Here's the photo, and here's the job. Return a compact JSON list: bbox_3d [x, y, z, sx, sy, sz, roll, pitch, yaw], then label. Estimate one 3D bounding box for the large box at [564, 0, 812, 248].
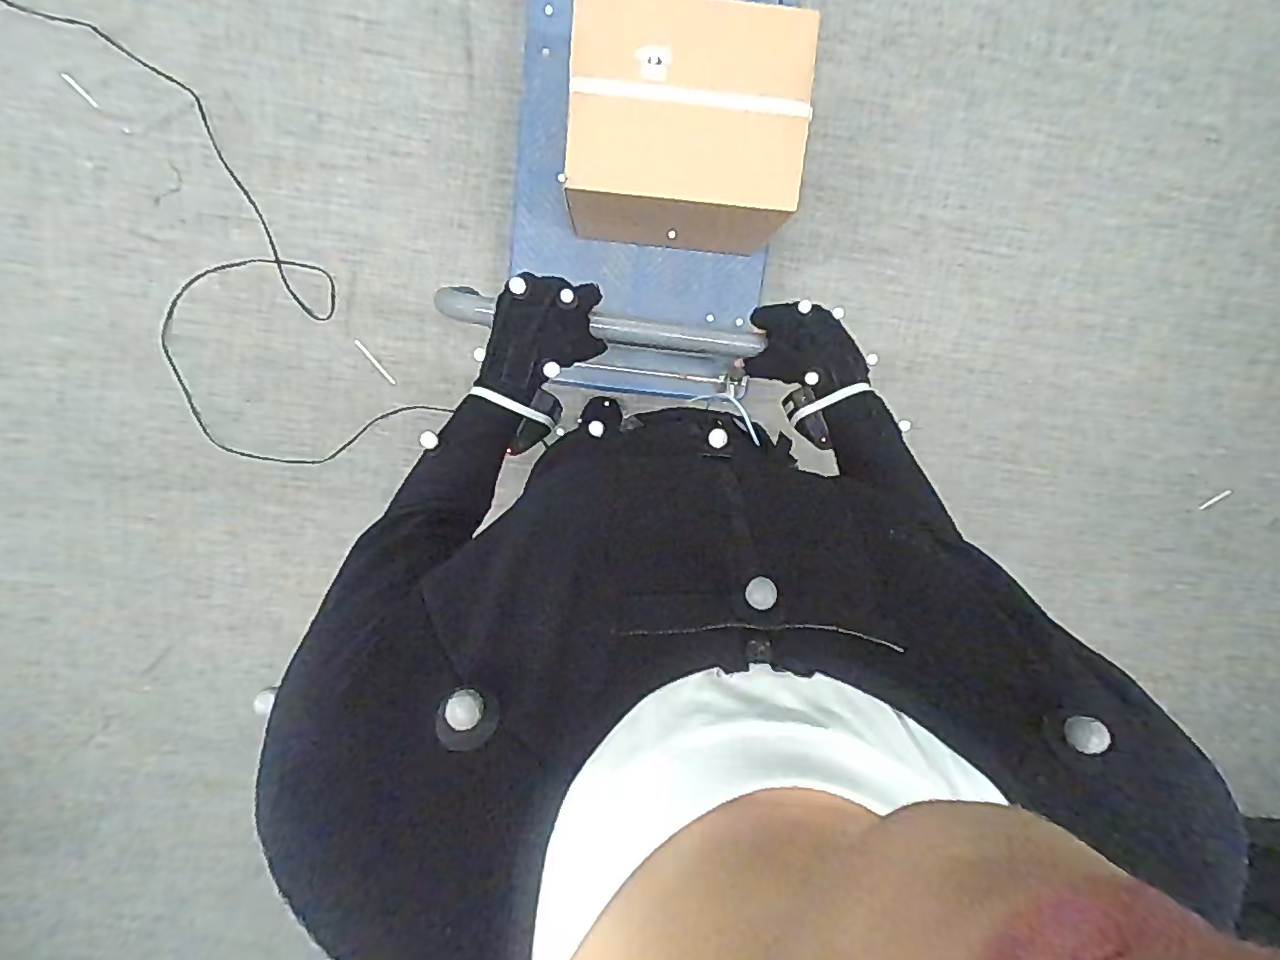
[{"bbox_3d":[0.076,-0.661,1.057,0.408,0.320,0.320,5,98,-2],"label":"large box"}]
